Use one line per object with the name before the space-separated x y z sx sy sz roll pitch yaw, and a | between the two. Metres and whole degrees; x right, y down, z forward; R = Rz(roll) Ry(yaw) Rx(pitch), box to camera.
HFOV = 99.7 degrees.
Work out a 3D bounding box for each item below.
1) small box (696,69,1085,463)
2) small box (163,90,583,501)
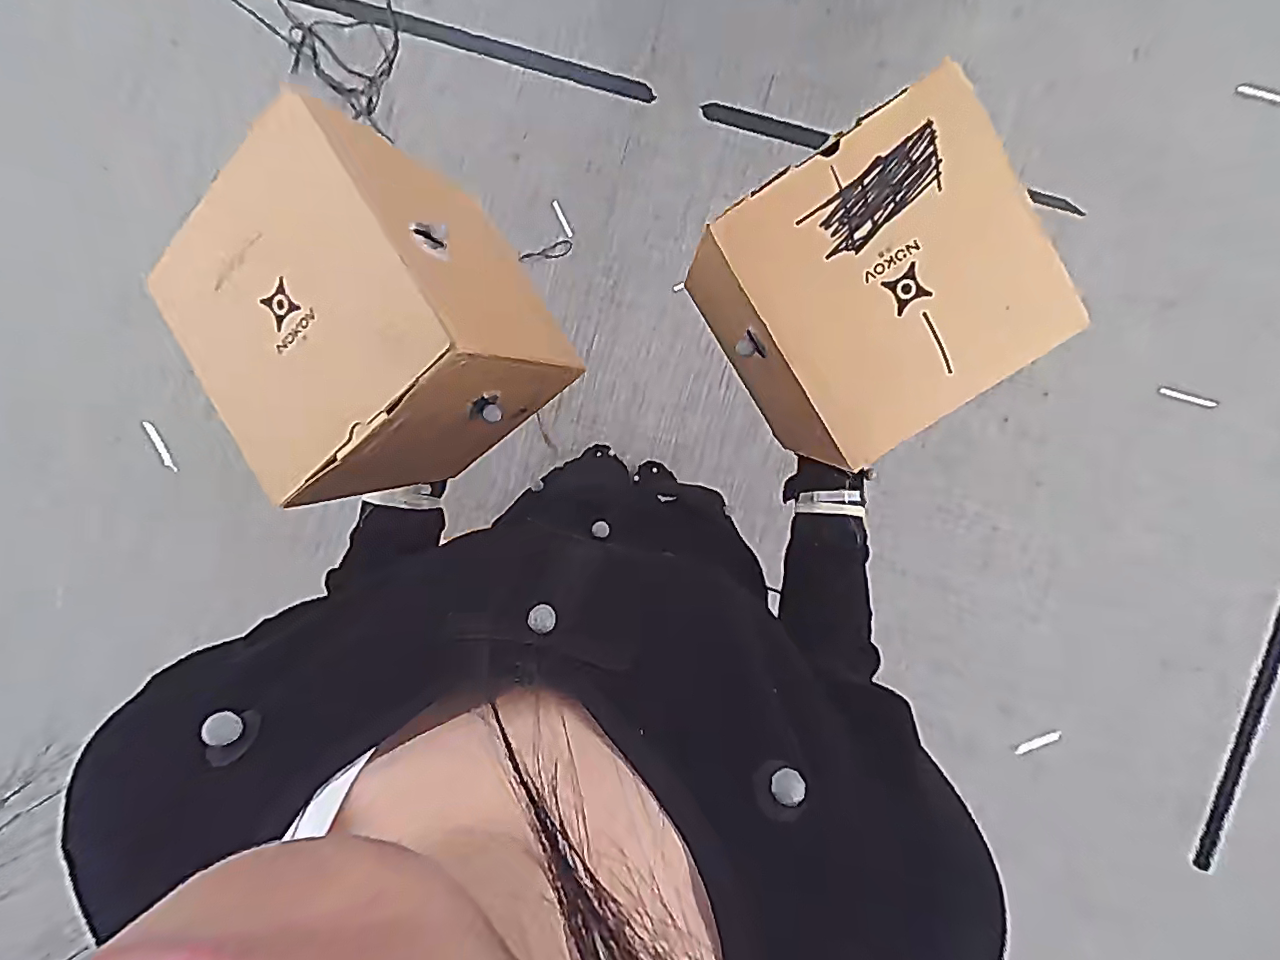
small box | 0.156 -0.133 0.402 0.168 0.176 0.179 -33 97 5
small box | -0.170 -0.109 0.387 0.168 0.176 0.179 -34 85 18
